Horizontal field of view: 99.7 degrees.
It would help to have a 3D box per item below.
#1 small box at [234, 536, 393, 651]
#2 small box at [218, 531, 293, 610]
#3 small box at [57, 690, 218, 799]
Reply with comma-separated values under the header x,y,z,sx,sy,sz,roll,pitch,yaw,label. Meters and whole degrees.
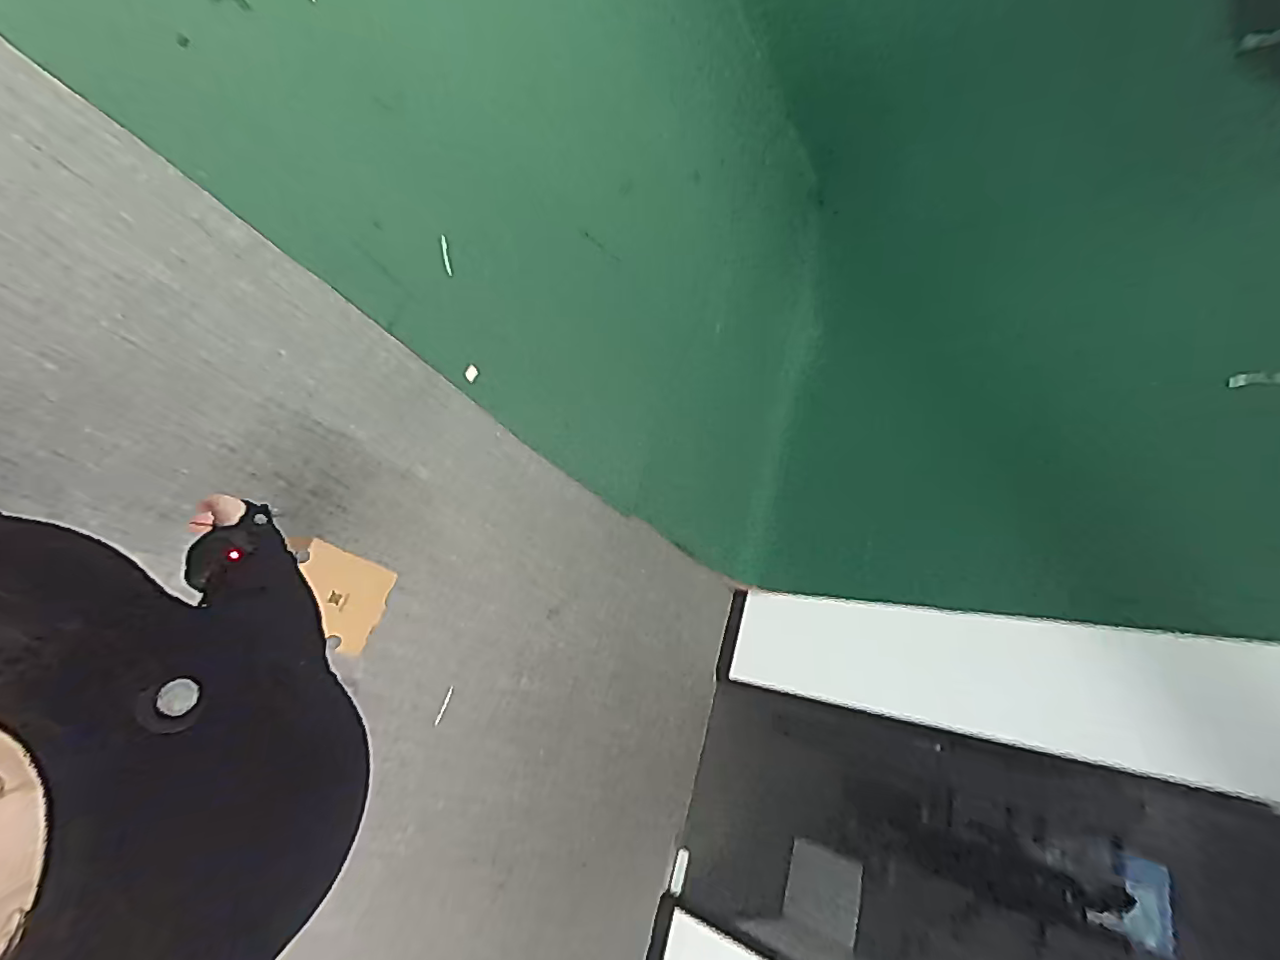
x,y,z,sx,sy,sz,roll,pitch,yaw,label
-0.622,0.211,1.033,0.179,0.176,0.168,39,58,-41,small box
-0.743,0.216,1.142,0.179,0.176,0.168,39,60,-41,small box
-0.997,0.541,1.081,0.179,0.176,0.168,48,54,-36,small box
